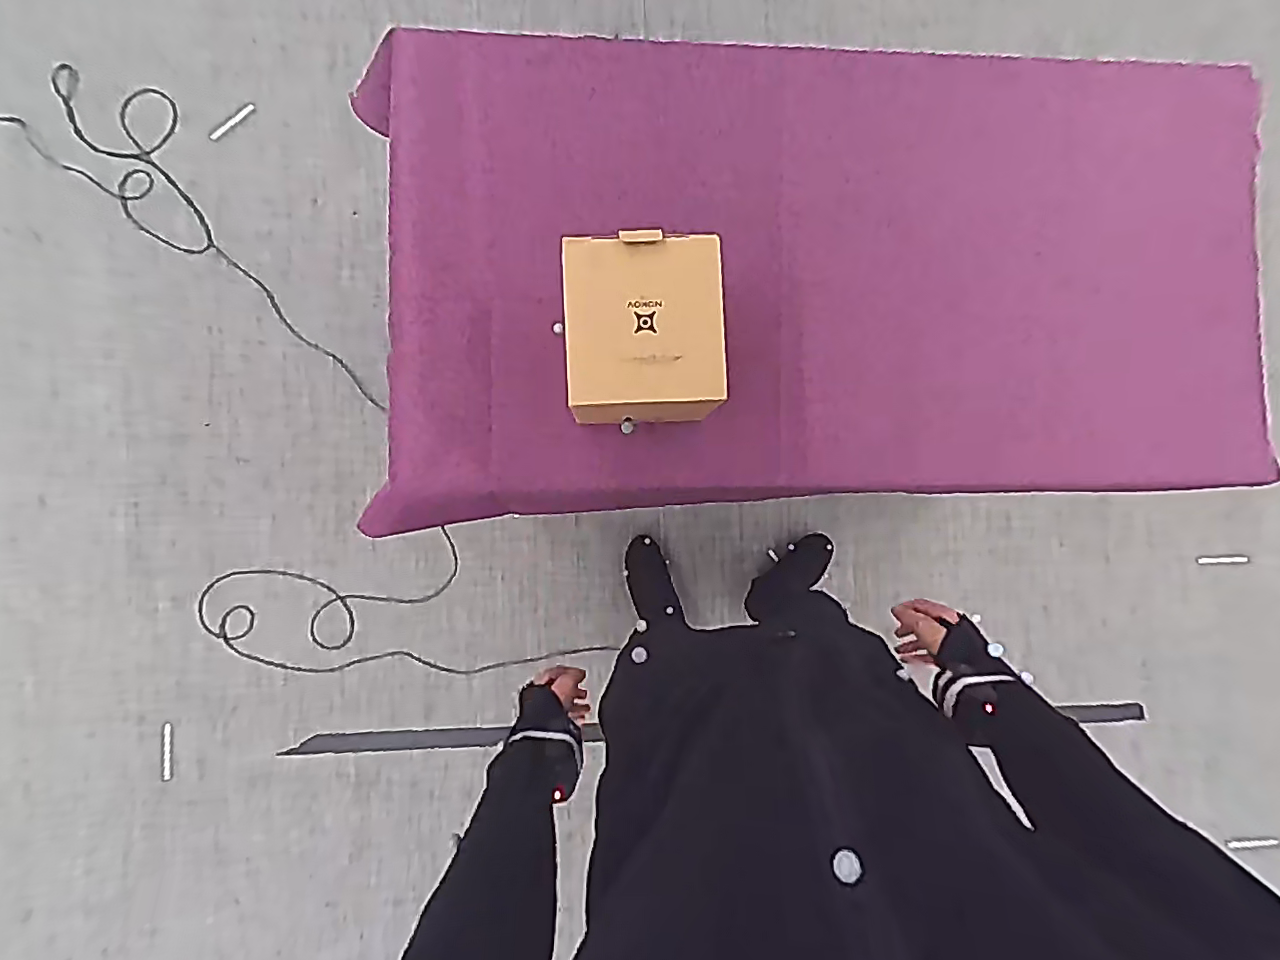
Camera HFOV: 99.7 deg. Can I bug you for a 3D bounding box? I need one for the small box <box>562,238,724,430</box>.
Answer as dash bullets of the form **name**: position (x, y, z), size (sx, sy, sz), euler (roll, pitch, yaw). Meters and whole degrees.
- **small box**: position (-0.003, -0.157, 0.628), size (0.168, 0.176, 0.179), euler (-2, 88, -3)
